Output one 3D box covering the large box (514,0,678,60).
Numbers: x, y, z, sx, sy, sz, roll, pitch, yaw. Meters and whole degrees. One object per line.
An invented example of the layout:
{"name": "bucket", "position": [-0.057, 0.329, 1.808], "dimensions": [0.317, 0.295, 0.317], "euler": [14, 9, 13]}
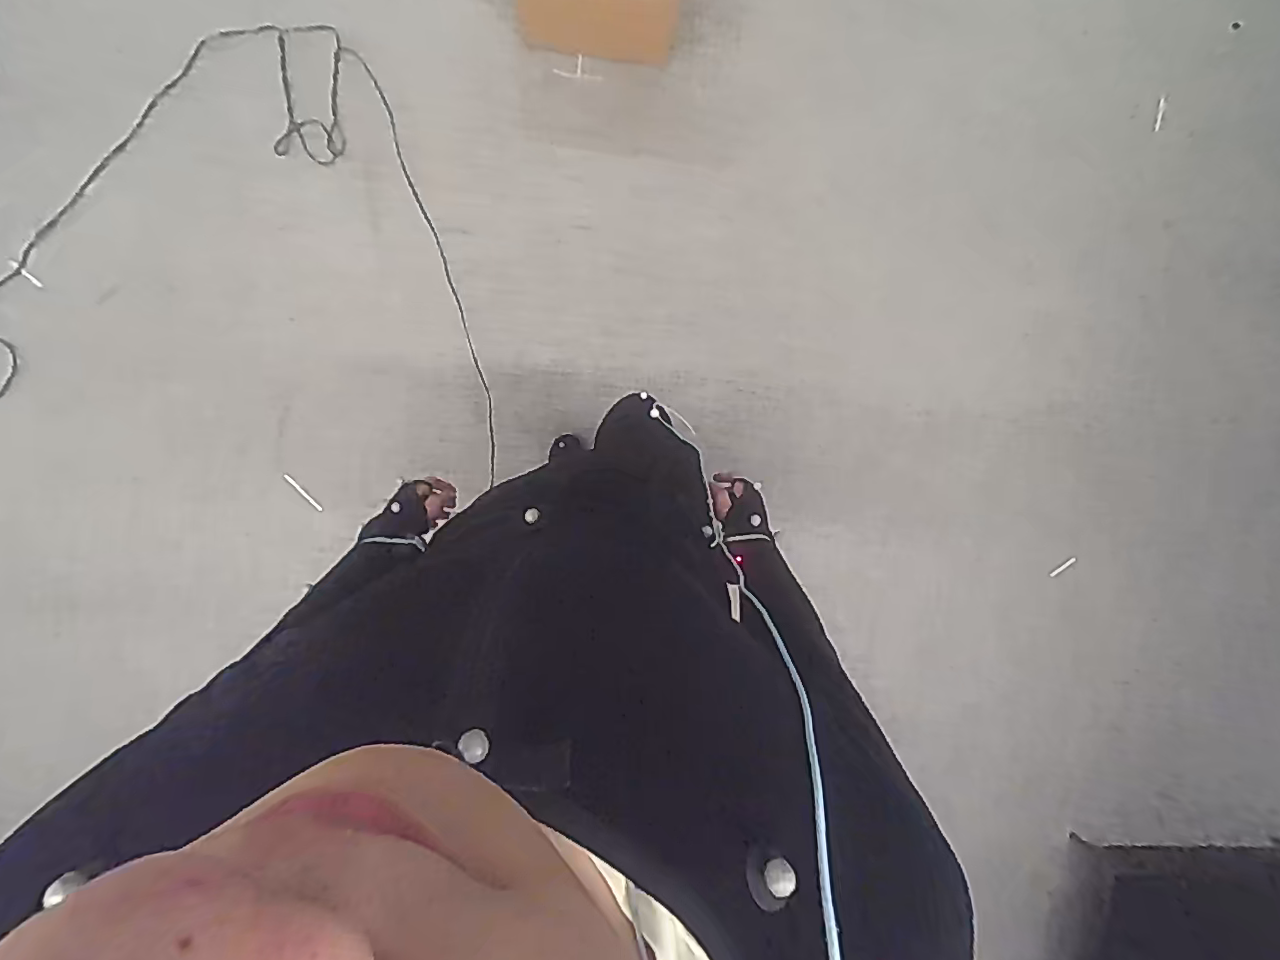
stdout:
{"name": "large box", "position": [-0.107, -1.309, 1.329], "dimensions": [0.408, 0.320, 0.320], "euler": [2, 97, -6]}
